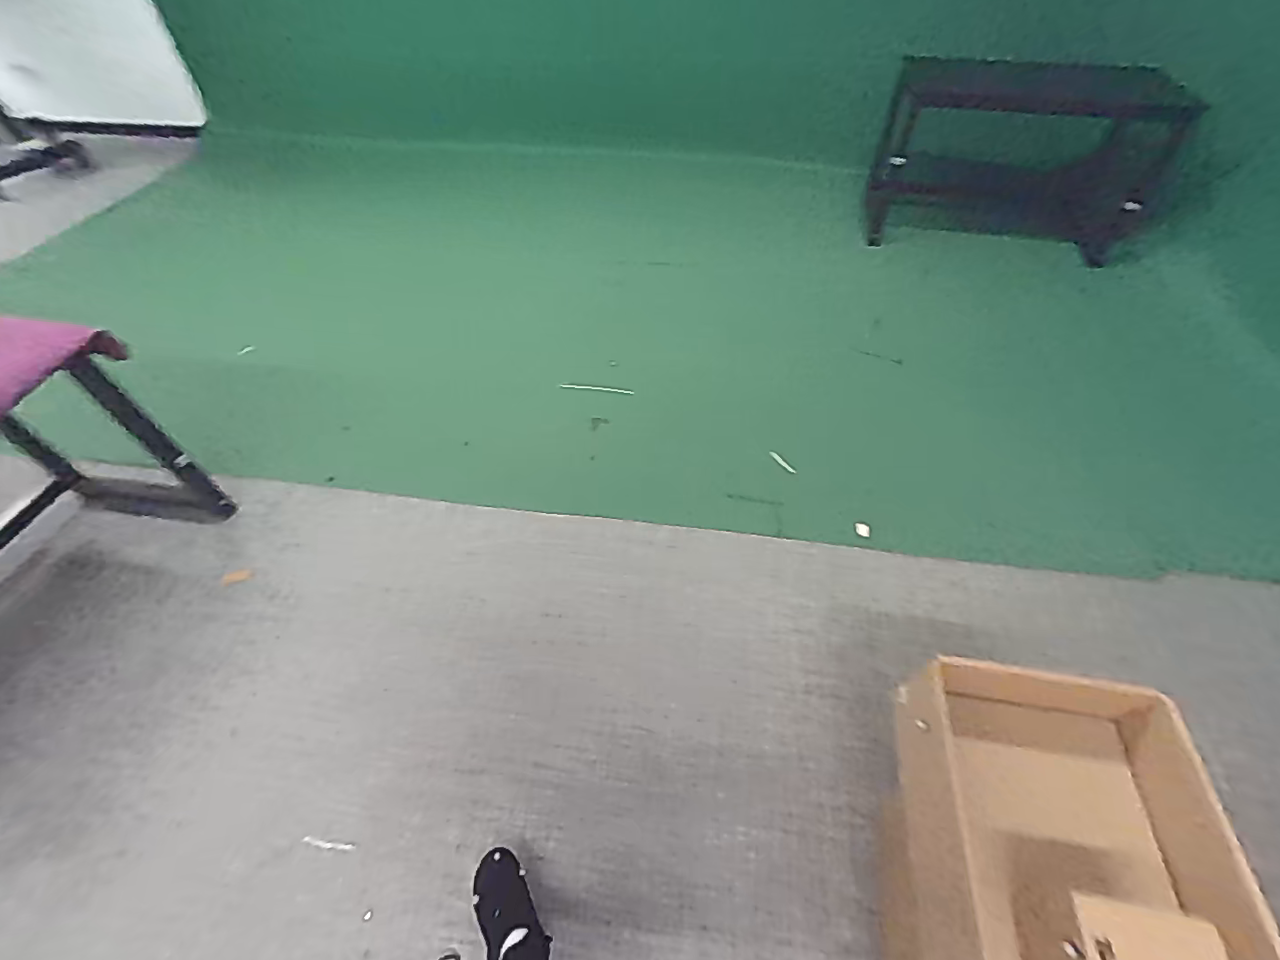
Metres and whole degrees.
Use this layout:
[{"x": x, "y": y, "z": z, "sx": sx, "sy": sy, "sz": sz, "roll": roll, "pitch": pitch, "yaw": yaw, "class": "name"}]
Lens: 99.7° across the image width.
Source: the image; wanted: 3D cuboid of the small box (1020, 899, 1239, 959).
[{"x": 0.653, "y": 0.679, "z": 0.713, "sx": 0.179, "sy": 0.176, "sz": 0.168, "roll": 9, "pitch": 49, "yaw": 7, "class": "small box"}]
